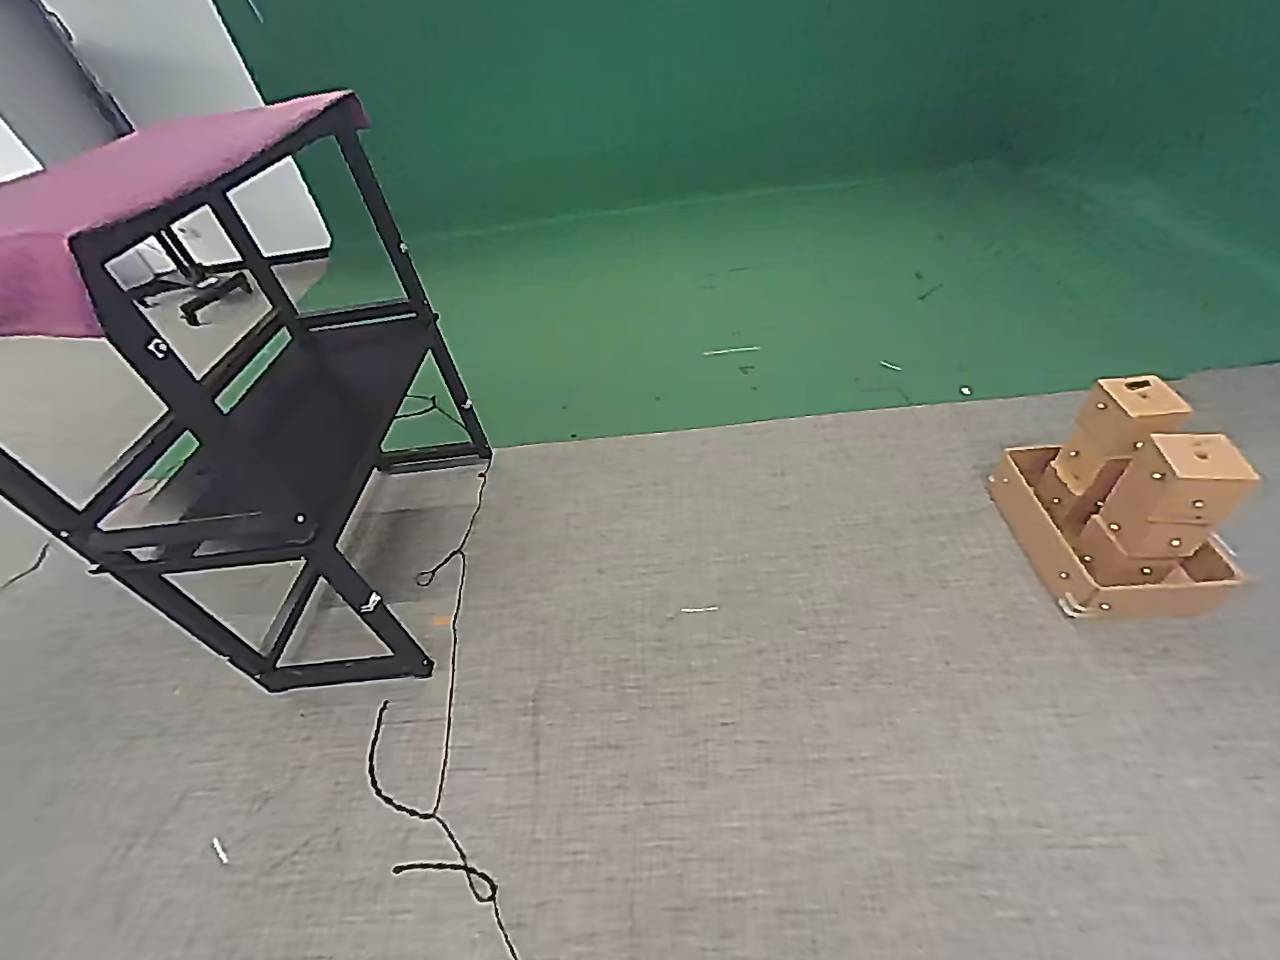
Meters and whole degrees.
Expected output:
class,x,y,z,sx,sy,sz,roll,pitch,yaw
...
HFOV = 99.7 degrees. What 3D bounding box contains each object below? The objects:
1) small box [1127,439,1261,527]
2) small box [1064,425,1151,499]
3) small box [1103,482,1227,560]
class,x,y,z,sx,sy,sz,roll,pitch,yaw
small box,1.459,0.009,1.439,0.168,0.176,0.179,2,44,15
small box,1.515,-0.055,1.743,0.179,0.176,0.168,-6,45,5
small box,1.498,0.120,1.557,0.168,0.176,0.179,-3,43,9
